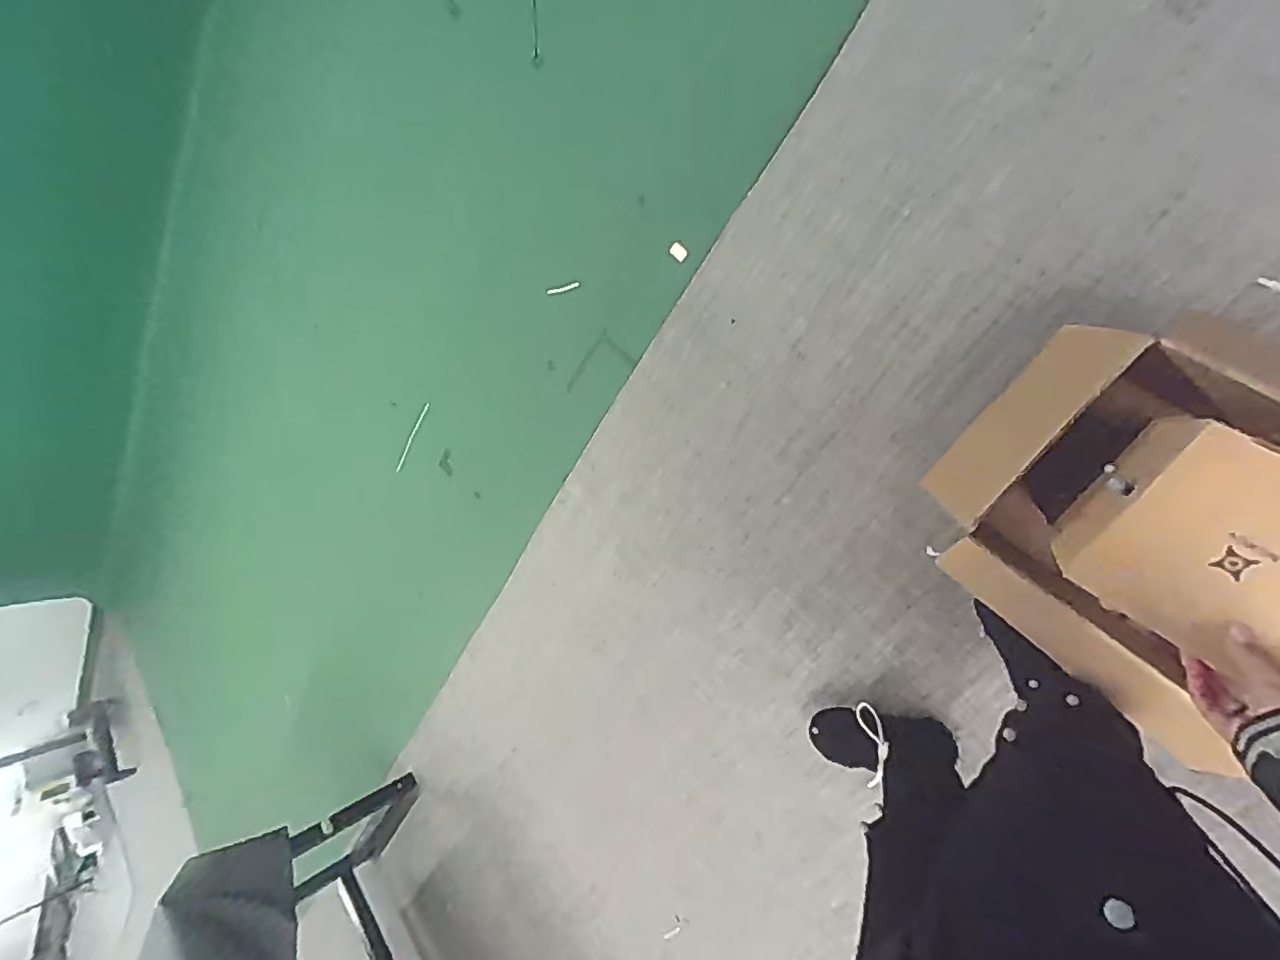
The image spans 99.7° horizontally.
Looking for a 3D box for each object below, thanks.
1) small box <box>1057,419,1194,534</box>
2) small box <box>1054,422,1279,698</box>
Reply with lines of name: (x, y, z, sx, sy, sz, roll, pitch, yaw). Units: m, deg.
small box: (0.638, 0.045, 0.643, 0.168, 0.176, 0.179, 41, 114, 25)
small box: (0.537, 0.063, 0.517, 0.168, 0.176, 0.179, 39, 112, 26)
